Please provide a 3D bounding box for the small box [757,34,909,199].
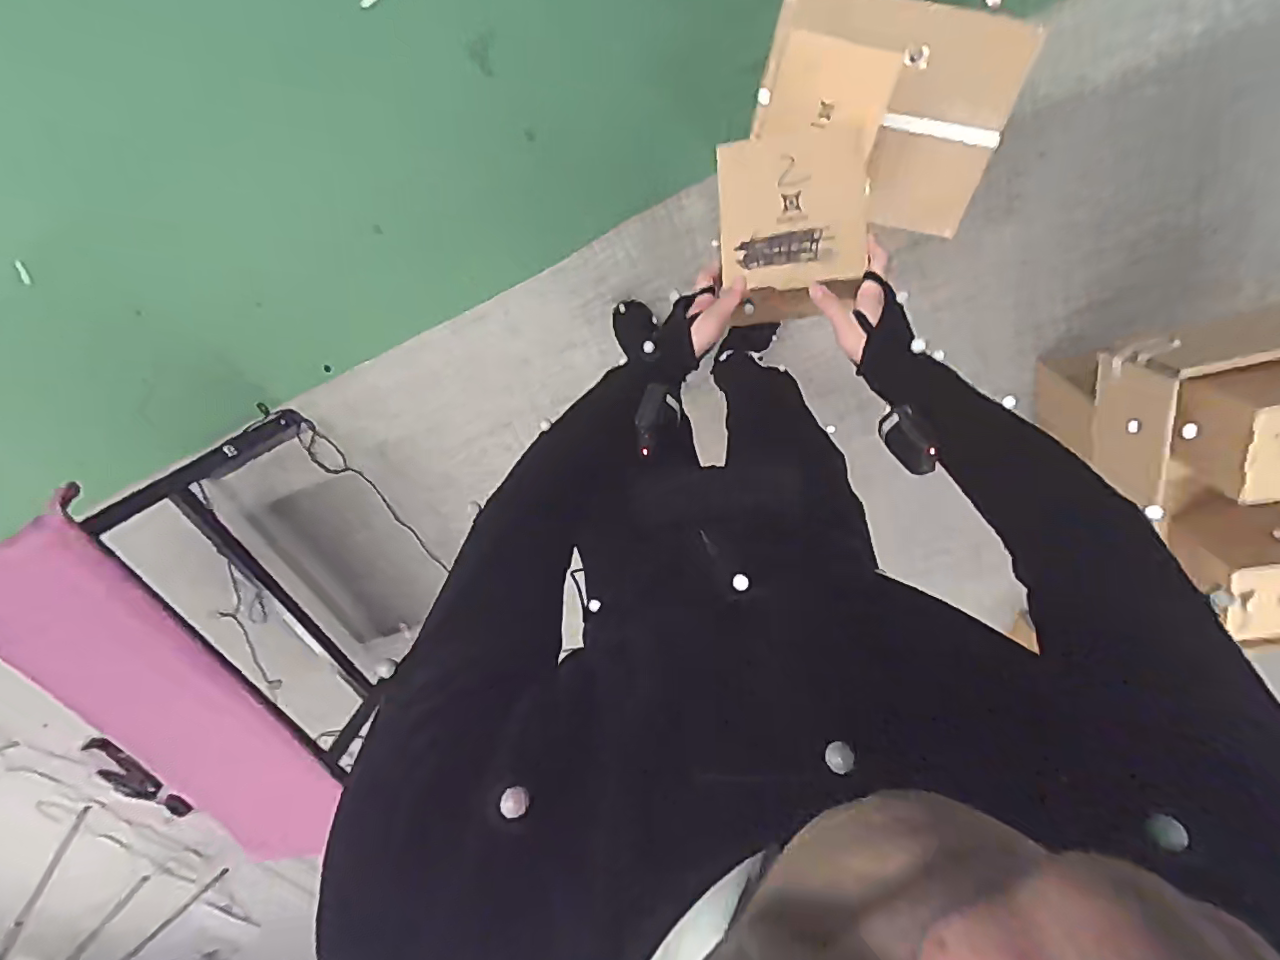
[{"bbox_3d":[0.289,-0.567,0.860,0.168,0.176,0.179,14,122,1],"label":"small box"}]
